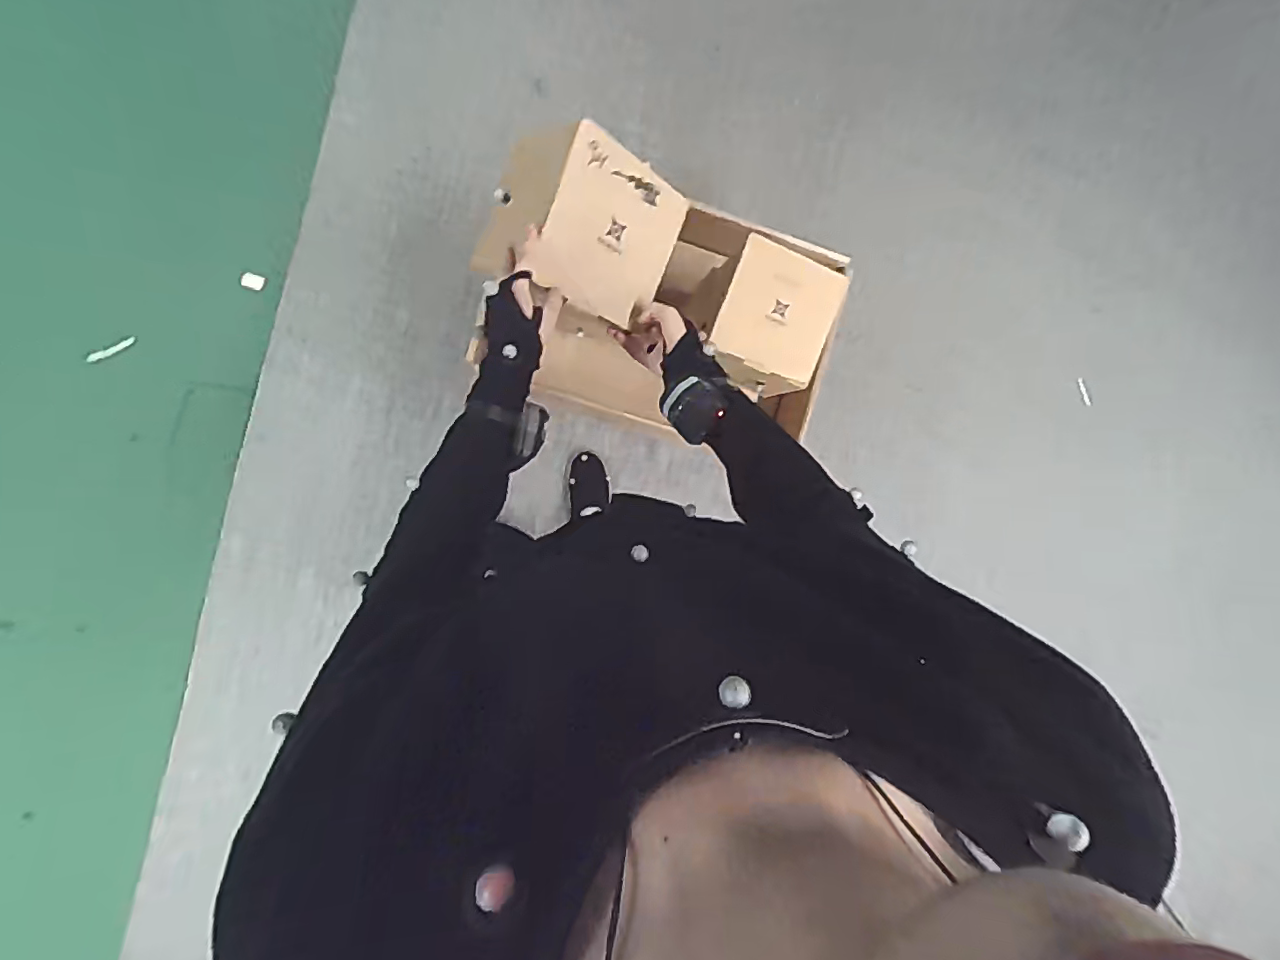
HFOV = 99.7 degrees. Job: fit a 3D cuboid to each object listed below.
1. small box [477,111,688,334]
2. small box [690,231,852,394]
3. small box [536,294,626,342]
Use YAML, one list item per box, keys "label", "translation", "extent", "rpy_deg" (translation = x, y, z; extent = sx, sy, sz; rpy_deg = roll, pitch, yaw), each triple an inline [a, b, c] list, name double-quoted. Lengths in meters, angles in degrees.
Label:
- label: "small box"
  translation: [-0.080, -0.307, 0.665]
  extent: [0.168, 0.176, 0.179]
  rpy_deg: [18, 102, -43]
- label: "small box"
  translation: [0.192, -0.247, 0.850]
  extent: [0.168, 0.176, 0.179]
  rpy_deg: [22, 91, -9]
- label: "small box"
  translation: [-0.084, -0.364, 0.969]
  extent: [0.168, 0.176, 0.179]
  rpy_deg: [13, 92, -8]
